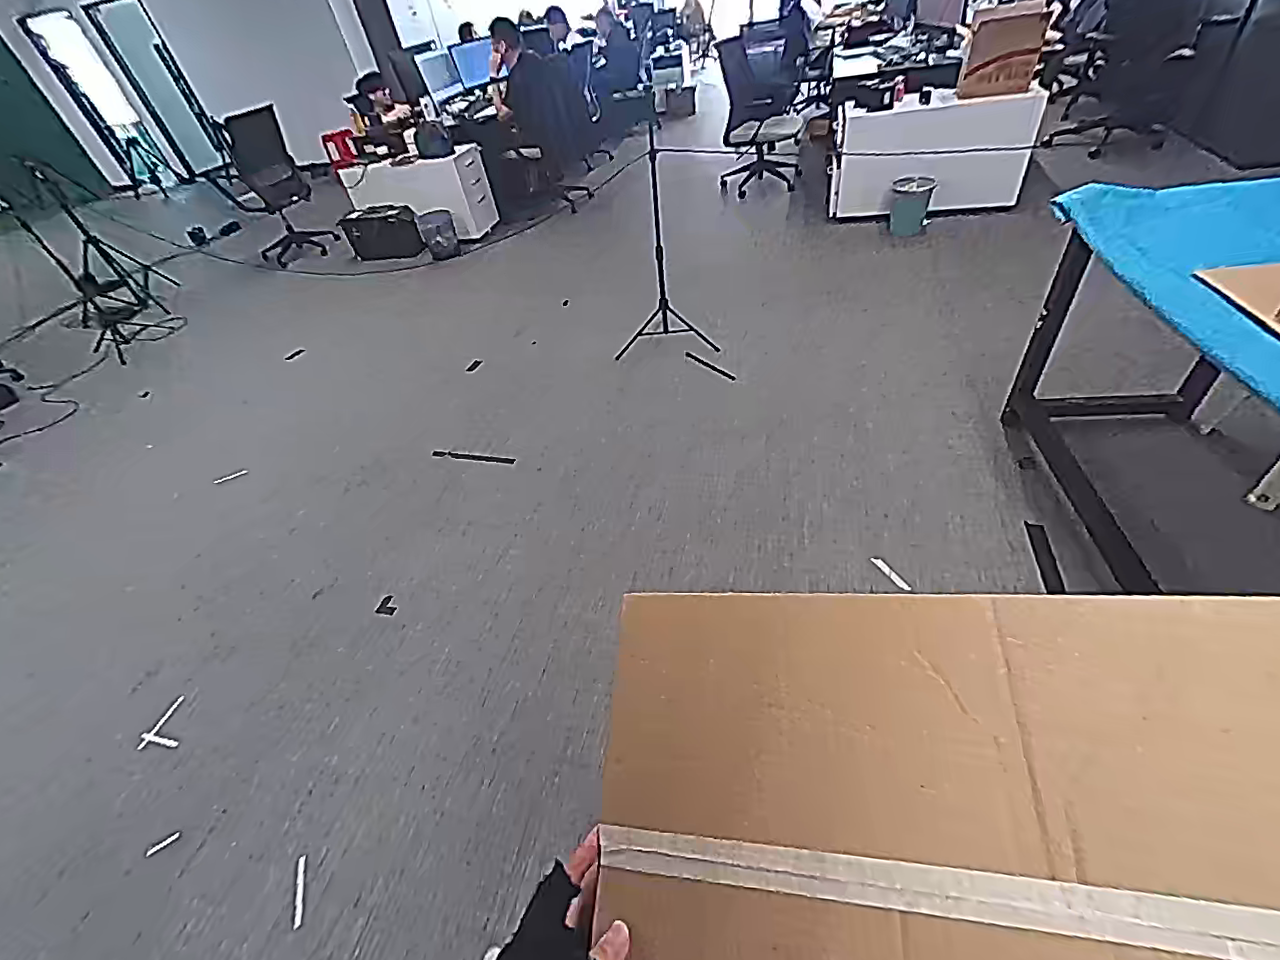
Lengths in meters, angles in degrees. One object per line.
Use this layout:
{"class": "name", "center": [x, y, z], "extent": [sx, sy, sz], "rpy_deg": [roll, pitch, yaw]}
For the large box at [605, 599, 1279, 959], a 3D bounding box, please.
{"class": "large box", "center": [0.214, 0.285, 0.410], "extent": [0.408, 0.320, 0.320], "rpy_deg": [-3, 62, 17]}
